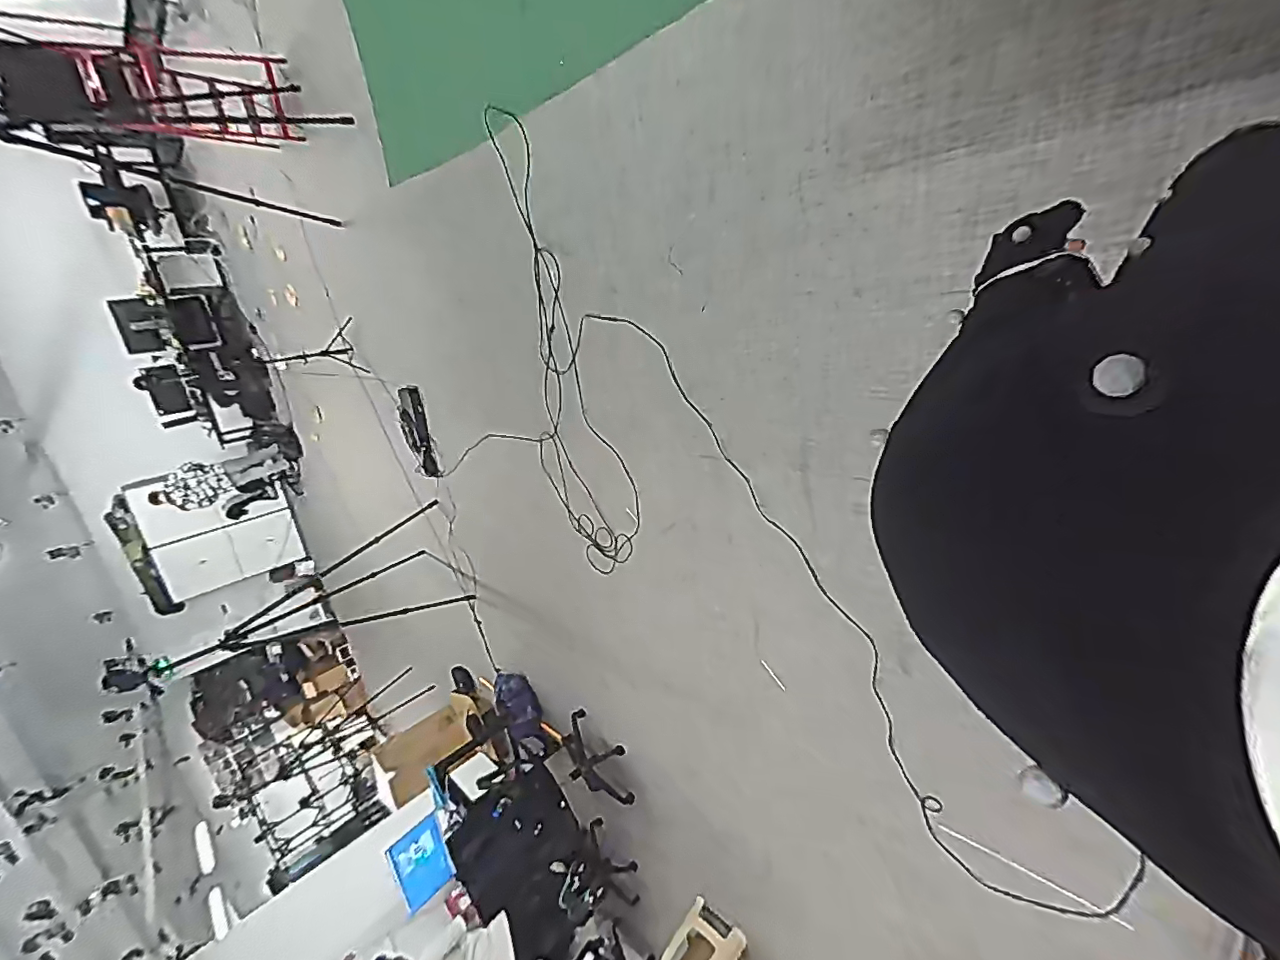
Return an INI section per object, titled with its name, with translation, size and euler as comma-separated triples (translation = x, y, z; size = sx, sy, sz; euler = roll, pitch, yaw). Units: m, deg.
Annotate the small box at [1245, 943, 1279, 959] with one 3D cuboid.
[small box]
translation = 1.444, 1.172, 1.176
size = 0.179, 0.176, 0.168
euler = 4, 112, 46
